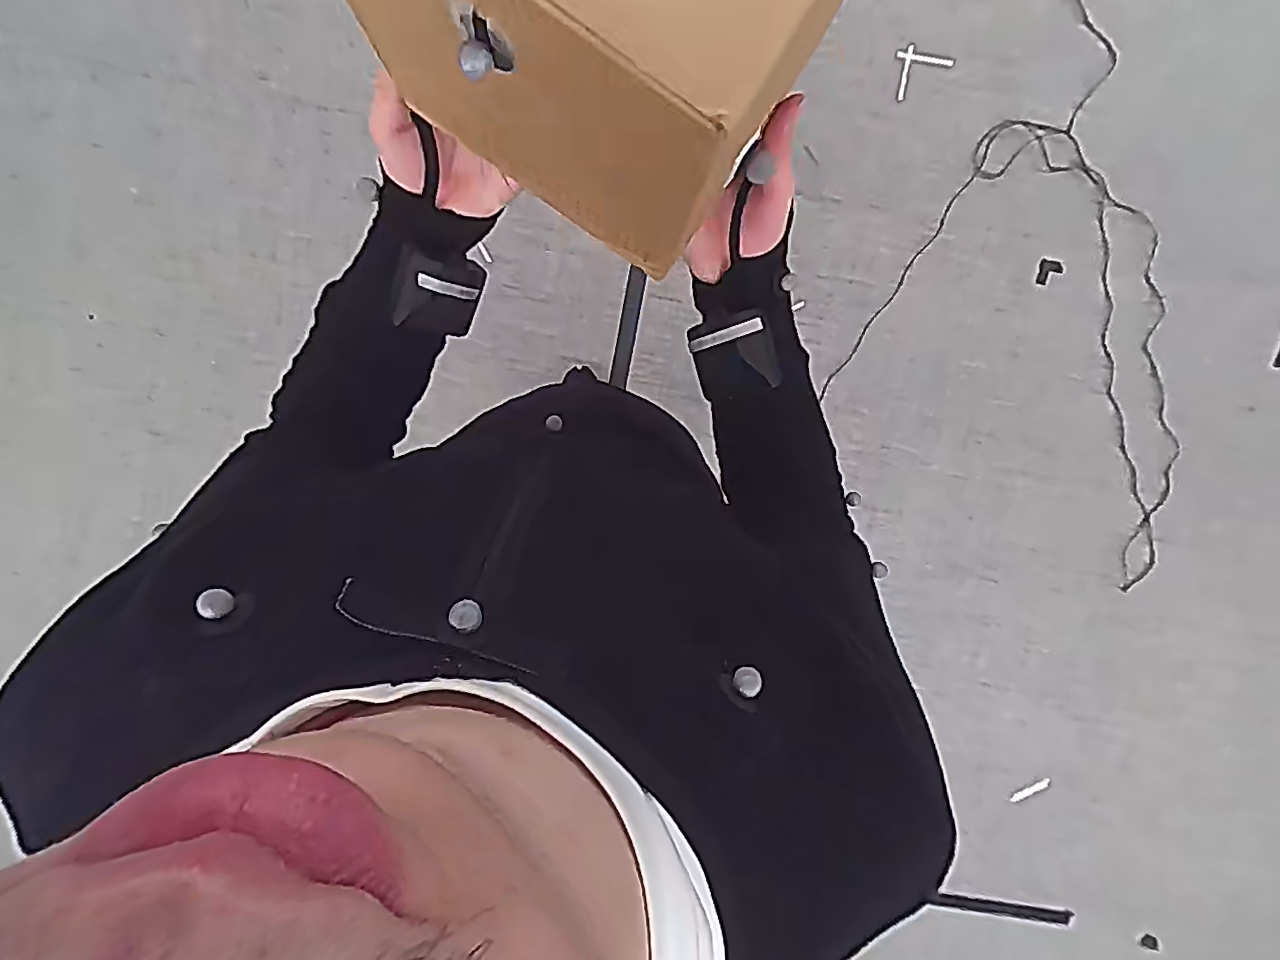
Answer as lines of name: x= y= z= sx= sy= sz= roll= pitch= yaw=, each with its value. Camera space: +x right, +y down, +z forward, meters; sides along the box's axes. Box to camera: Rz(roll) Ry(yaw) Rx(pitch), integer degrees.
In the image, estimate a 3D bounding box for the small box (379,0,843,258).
small box: x=-0.006 y=-0.231 z=0.240 sx=0.179 sy=0.176 sz=0.168 roll=33 pitch=93 yaw=-7
